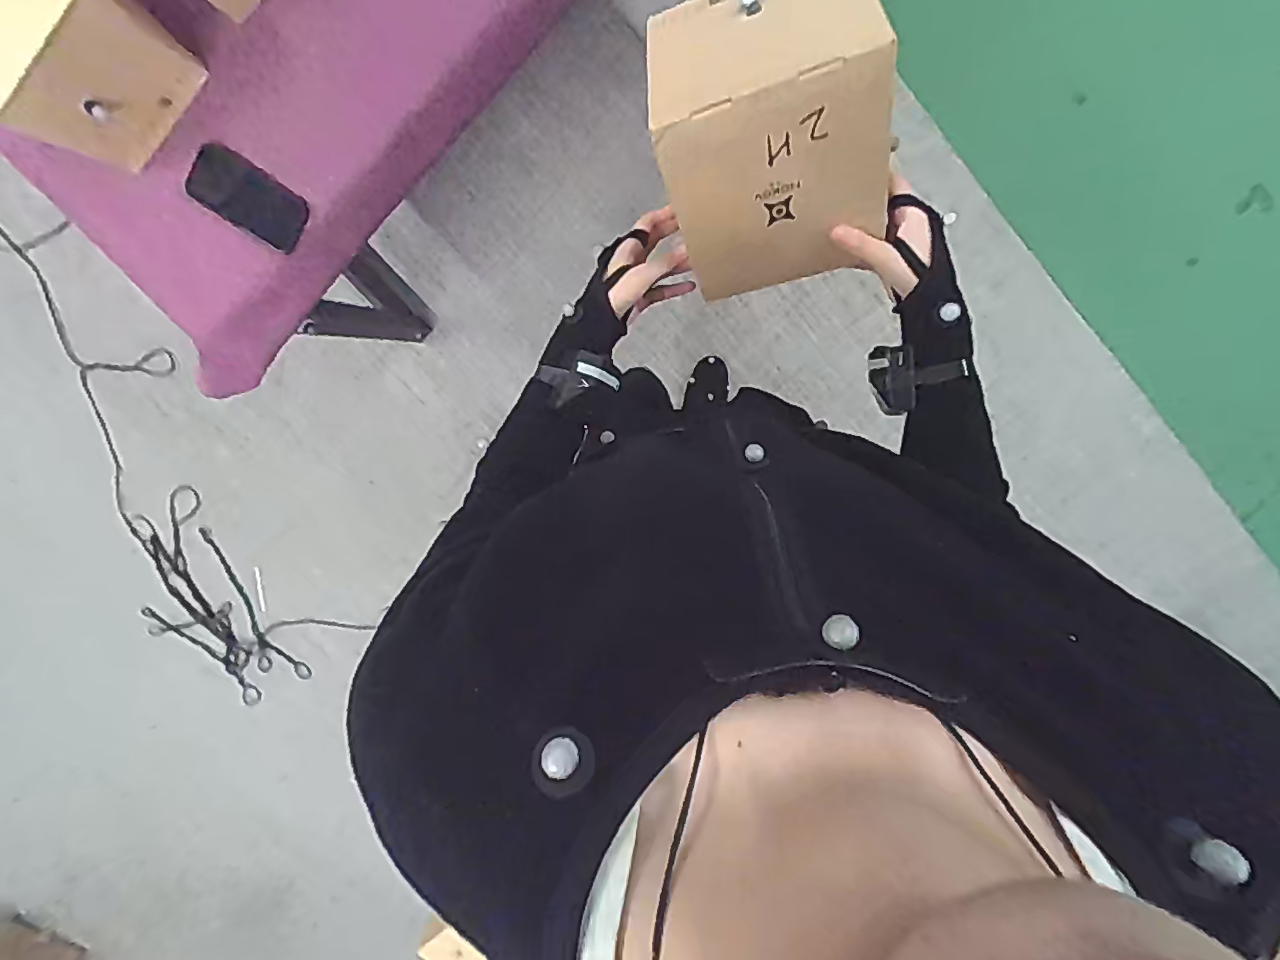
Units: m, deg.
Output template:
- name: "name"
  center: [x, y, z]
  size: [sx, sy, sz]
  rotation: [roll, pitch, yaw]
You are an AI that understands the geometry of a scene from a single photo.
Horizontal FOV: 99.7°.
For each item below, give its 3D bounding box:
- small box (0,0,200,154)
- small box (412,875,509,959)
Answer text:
- name: "small box"
  center: [-0.657, -0.501, 0.600]
  size: [0.168, 0.176, 0.179]
  rotation: [-43, 97, 10]
- name: "small box"
  center: [-0.508, 1.302, 1.559]
  size: [0.179, 0.176, 0.168]
  rotation: [-41, 99, 10]
